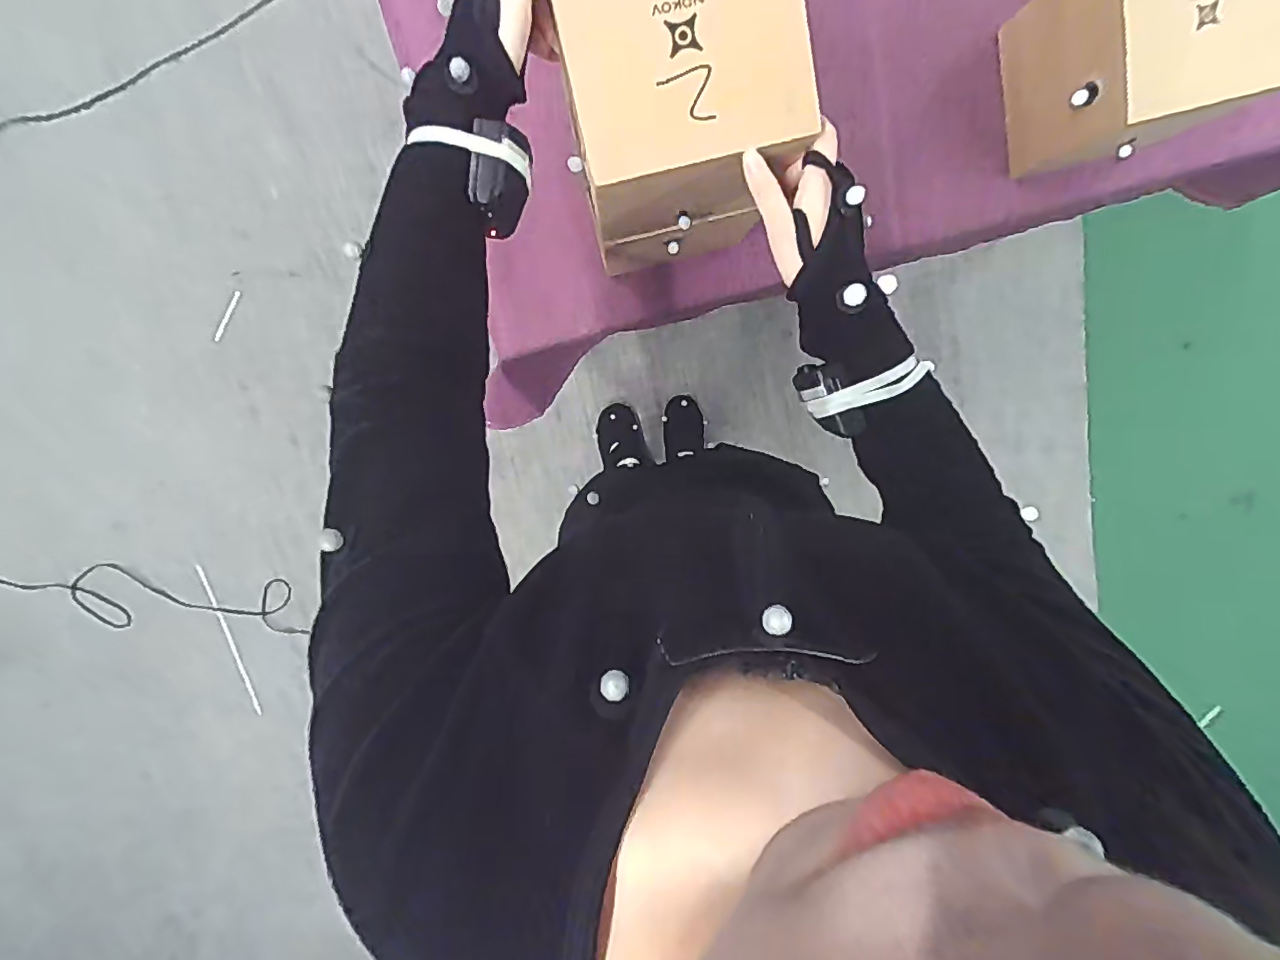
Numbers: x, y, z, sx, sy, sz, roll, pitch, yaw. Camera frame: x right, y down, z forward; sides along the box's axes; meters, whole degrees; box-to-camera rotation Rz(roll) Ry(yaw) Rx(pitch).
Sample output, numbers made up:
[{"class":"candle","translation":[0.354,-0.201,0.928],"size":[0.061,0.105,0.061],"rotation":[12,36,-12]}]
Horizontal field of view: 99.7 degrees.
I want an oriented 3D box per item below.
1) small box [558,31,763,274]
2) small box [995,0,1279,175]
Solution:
[{"class":"small box","translation":[0.021,-0.345,0.608],"size":[0.179,0.176,0.168],"rotation":[-14,101,0]},{"class":"small box","translation":[0.531,-0.463,0.599],"size":[0.168,0.176,0.179],"rotation":[-13,101,1]}]
